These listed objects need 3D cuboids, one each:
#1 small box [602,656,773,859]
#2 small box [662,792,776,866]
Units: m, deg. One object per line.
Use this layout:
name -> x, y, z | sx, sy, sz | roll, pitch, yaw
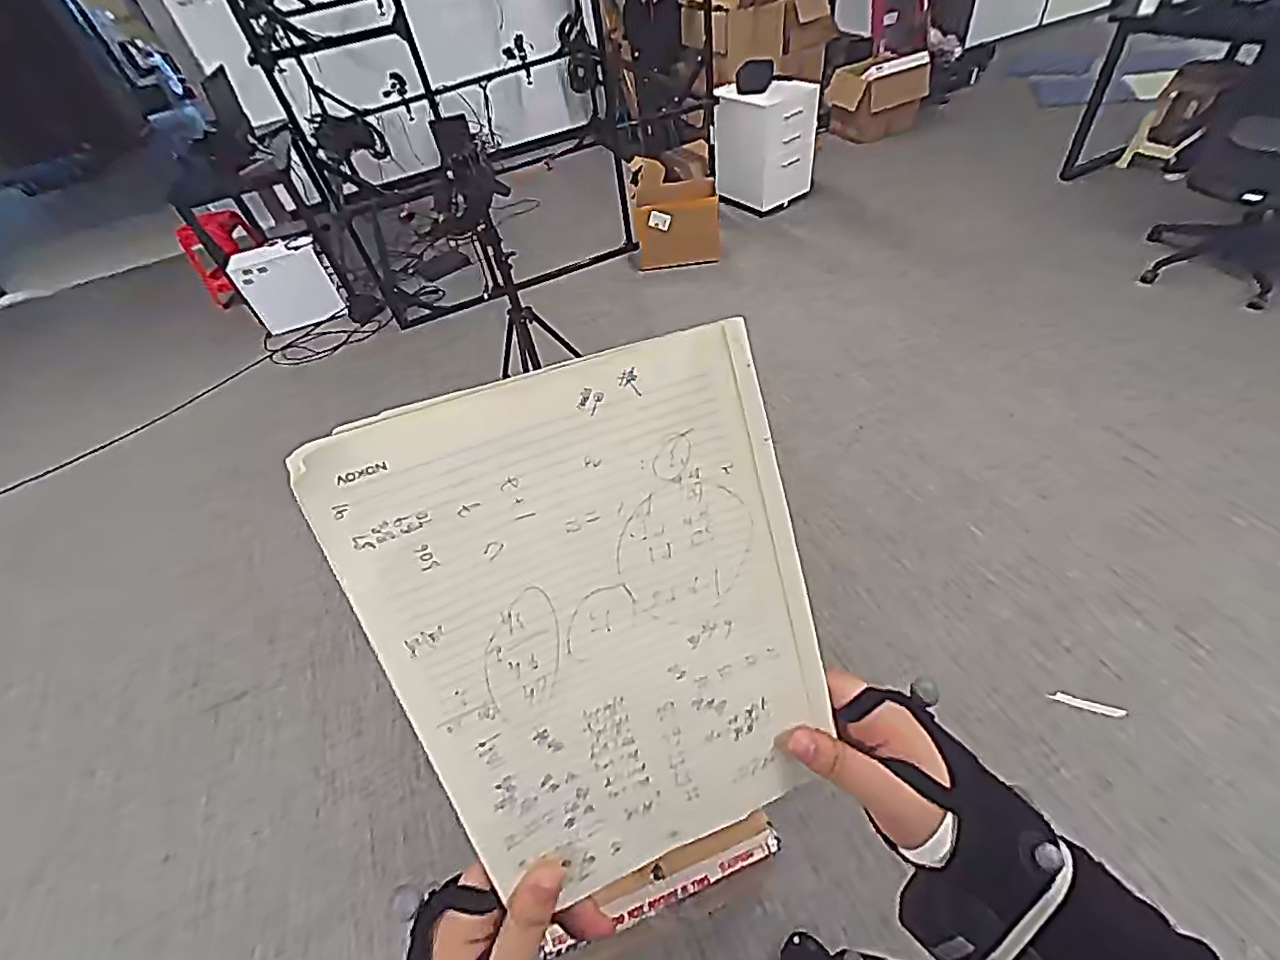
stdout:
small box -> 0.055, 0.368, 0.716 | 0.168, 0.176, 0.179 | -16, 50, -8
small box -> 0.088, 0.469, 0.844 | 0.179, 0.176, 0.168 | -20, 49, -10
